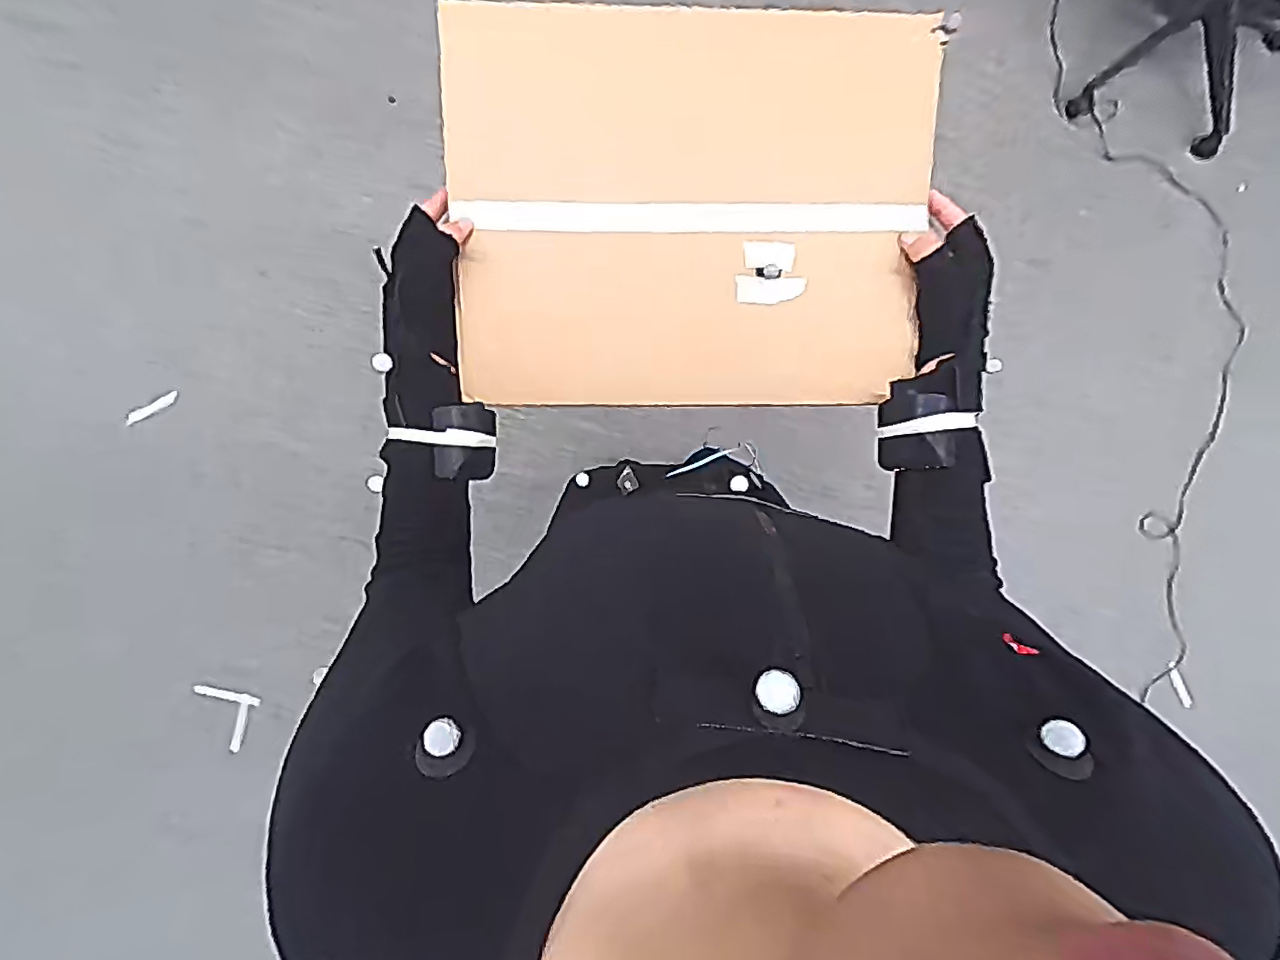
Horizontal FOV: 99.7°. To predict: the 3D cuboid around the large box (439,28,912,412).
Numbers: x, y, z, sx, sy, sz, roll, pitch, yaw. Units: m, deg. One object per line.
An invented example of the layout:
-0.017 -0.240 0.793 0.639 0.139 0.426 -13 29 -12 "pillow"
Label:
0.028 -0.248 0.620 0.408 0.320 0.320 -2 101 -3 "large box"
